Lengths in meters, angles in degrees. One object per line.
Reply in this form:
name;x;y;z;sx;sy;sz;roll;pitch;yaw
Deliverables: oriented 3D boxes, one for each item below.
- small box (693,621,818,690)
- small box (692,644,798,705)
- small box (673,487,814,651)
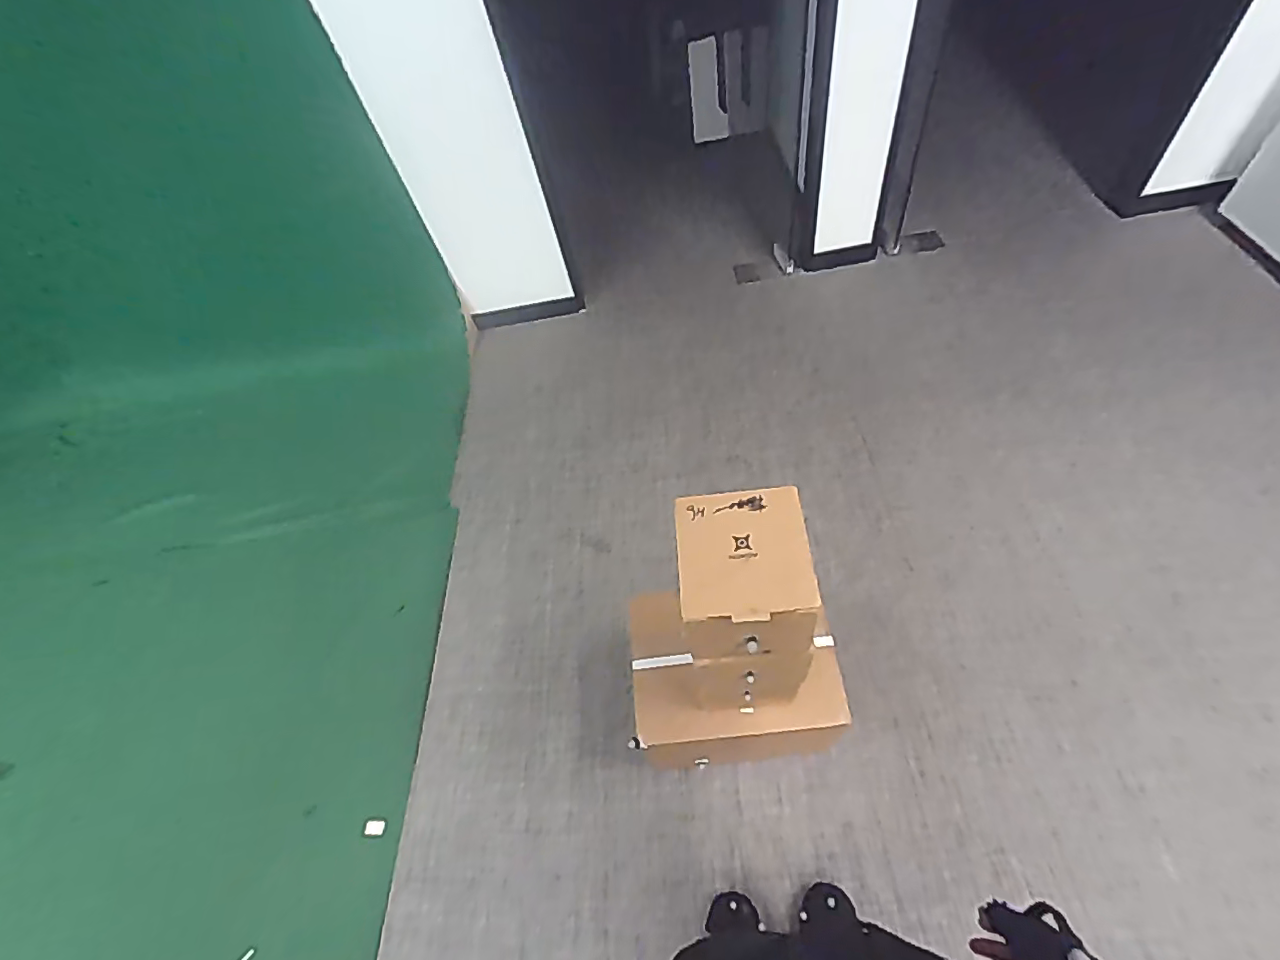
small box;0.170;0.230;0.878;0.179;0.176;0.168;-10;55;4
small box;0.189;0.317;1.015;0.179;0.176;0.168;-7;56;6
small box;0.140;0.132;0.750;0.168;0.176;0.179;-6;56;9
